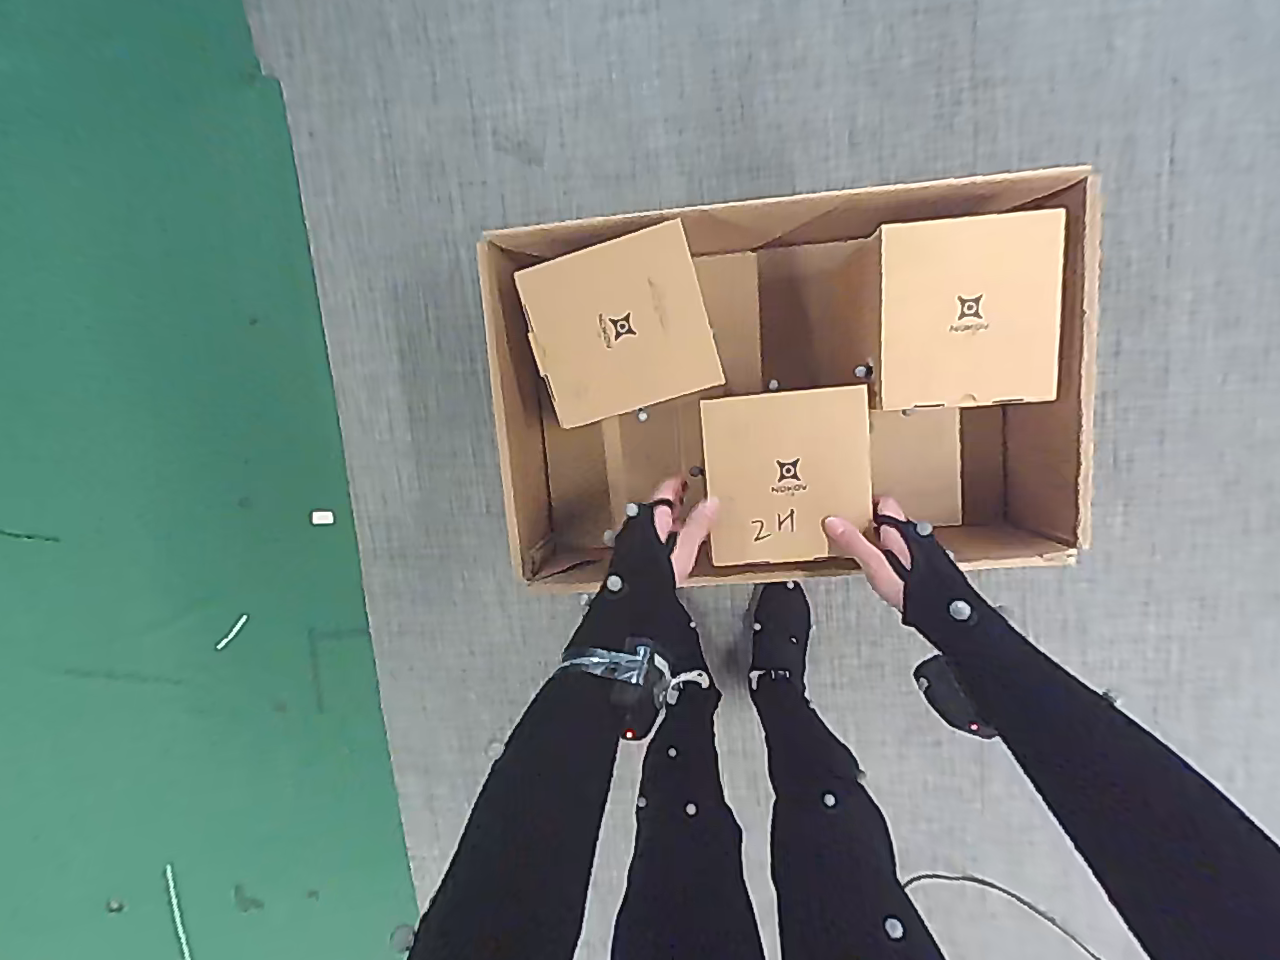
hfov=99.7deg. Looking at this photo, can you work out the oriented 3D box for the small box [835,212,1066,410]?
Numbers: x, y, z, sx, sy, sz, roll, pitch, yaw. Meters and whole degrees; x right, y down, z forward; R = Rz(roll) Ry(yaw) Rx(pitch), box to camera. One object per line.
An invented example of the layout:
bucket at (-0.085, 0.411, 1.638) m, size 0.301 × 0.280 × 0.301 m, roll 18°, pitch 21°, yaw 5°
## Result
small box at (0.318, -0.168, 0.590) m, size 0.168 × 0.176 × 0.179 m, roll -3°, pitch 99°, yaw 5°
